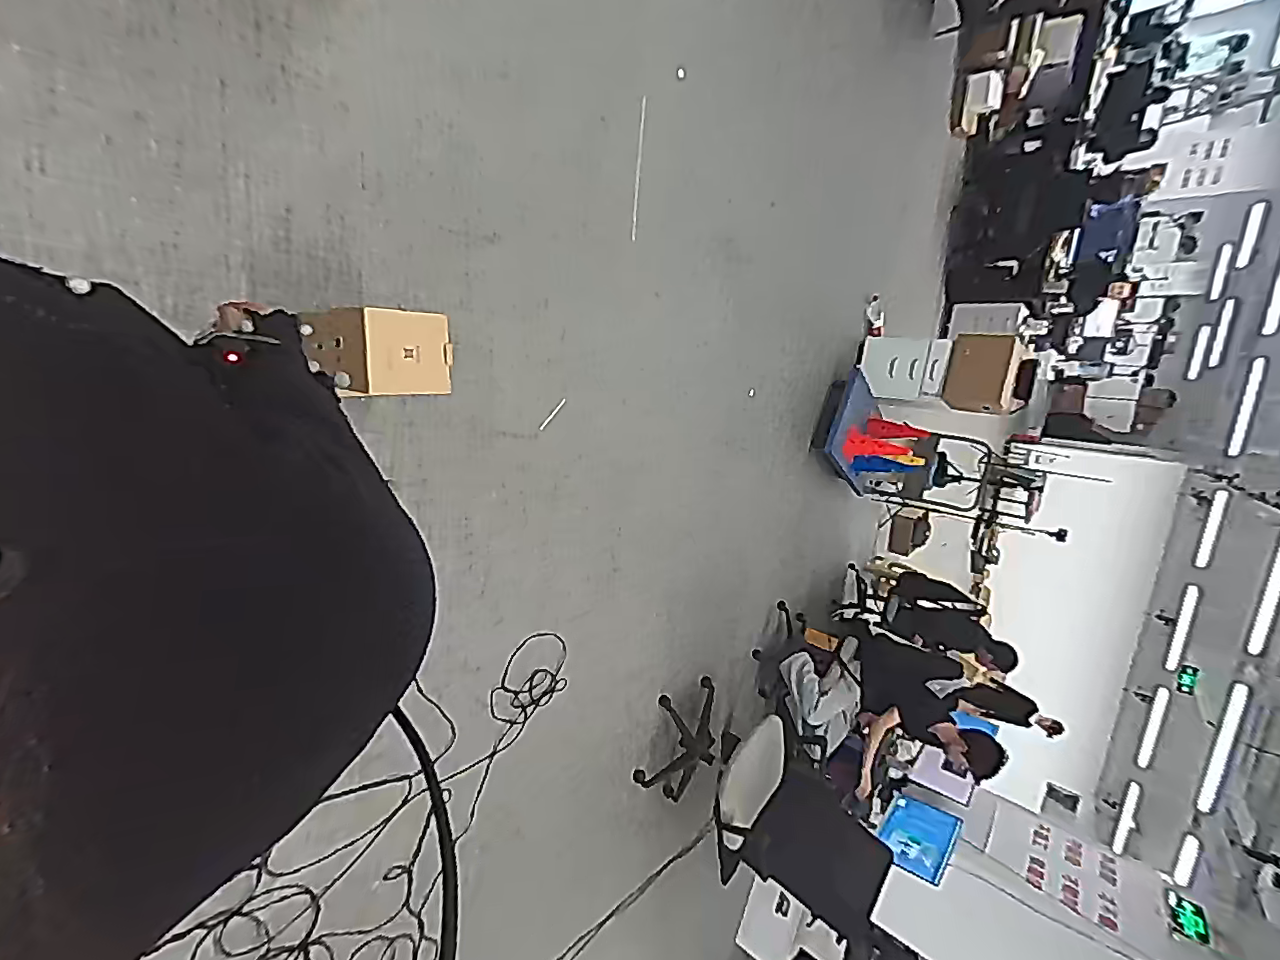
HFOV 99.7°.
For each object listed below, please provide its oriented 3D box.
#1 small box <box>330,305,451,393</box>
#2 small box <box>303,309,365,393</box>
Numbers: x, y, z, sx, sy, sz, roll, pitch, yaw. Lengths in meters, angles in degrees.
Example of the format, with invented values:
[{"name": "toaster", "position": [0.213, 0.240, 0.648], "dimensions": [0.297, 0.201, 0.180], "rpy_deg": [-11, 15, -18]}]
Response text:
[{"name": "small box", "position": [-0.520, -0.273, 1.134], "dimensions": [0.179, 0.176, 0.168], "rpy_deg": [-13, 109, -47]}, {"name": "small box", "position": [-0.648, -0.291, 1.236], "dimensions": [0.168, 0.176, 0.179], "rpy_deg": [-13, 110, -48]}]
